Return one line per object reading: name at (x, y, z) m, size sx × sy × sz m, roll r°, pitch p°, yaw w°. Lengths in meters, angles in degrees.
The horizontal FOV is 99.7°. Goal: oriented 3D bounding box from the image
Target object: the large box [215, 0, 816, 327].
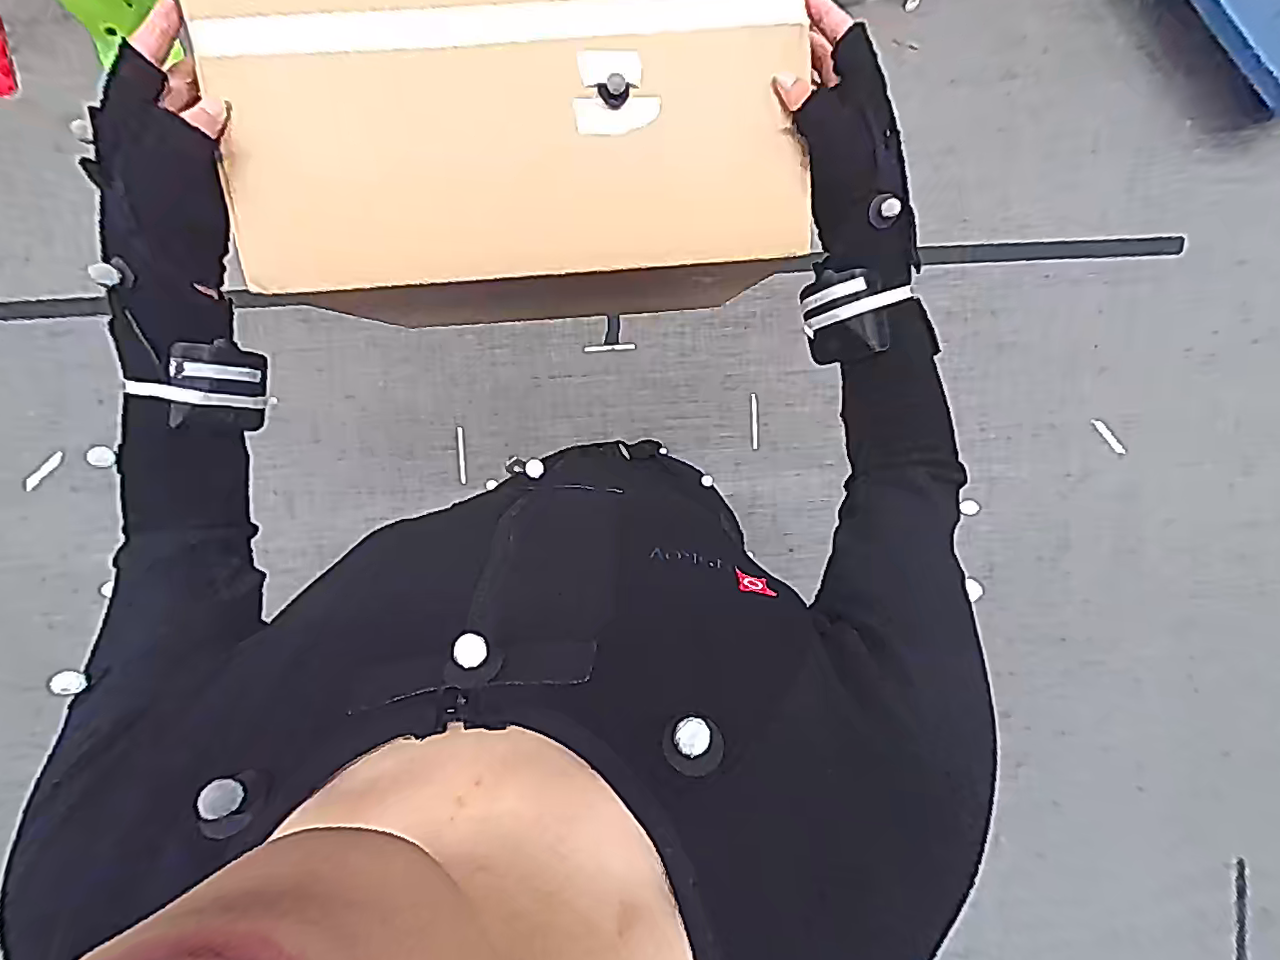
large box at (-0.091, -0.335, 0.513) m, size 0.408 × 0.320 × 0.320 m, roll -6°, pitch 102°, yaw -4°
